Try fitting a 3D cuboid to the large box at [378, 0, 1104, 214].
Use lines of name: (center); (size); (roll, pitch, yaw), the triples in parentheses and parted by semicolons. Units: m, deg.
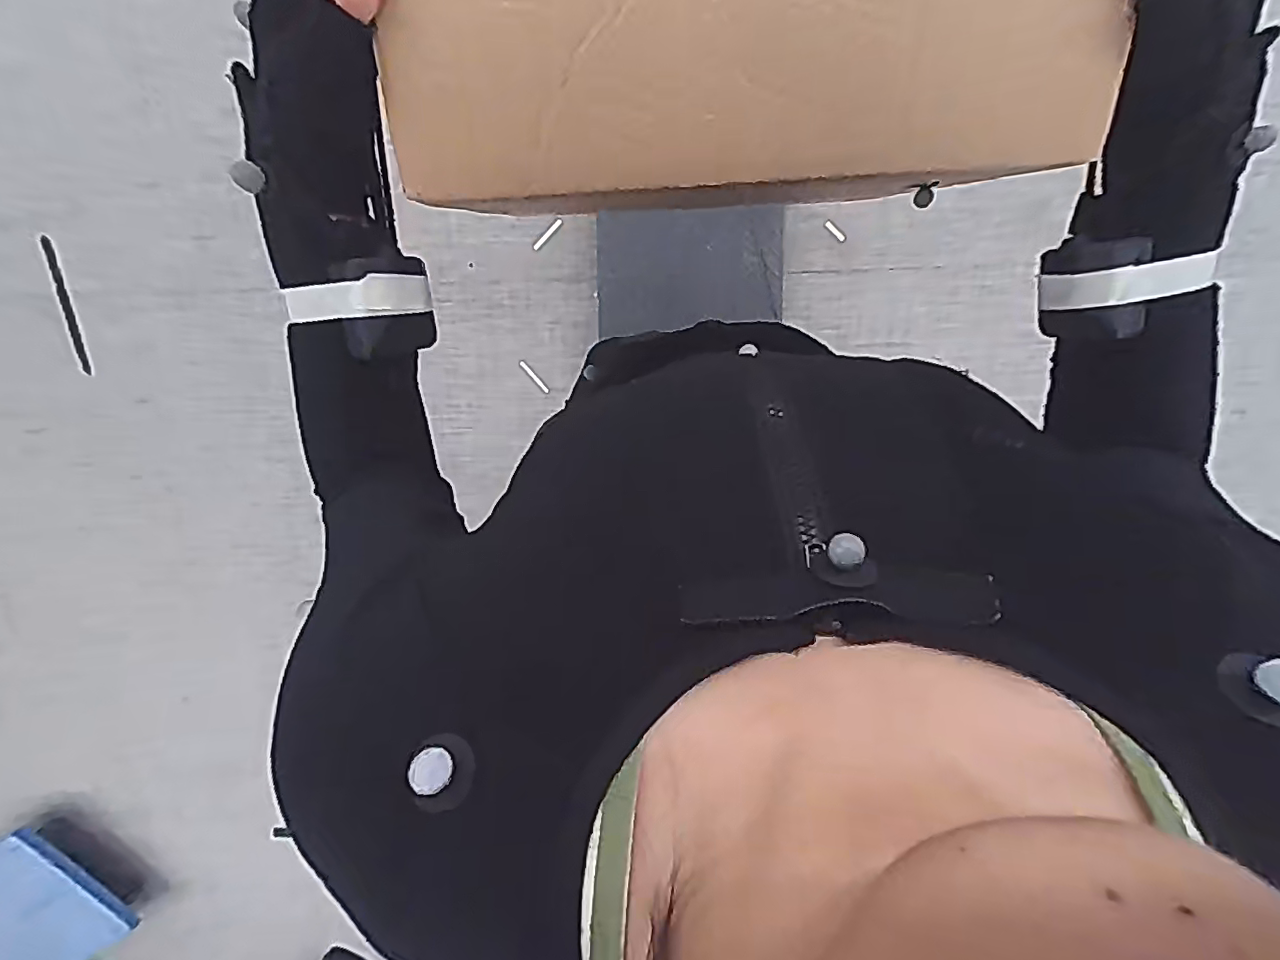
large box: (0.053, -0.384, 0.403); (0.408, 0.320, 0.320); (-3, 114, 1)
